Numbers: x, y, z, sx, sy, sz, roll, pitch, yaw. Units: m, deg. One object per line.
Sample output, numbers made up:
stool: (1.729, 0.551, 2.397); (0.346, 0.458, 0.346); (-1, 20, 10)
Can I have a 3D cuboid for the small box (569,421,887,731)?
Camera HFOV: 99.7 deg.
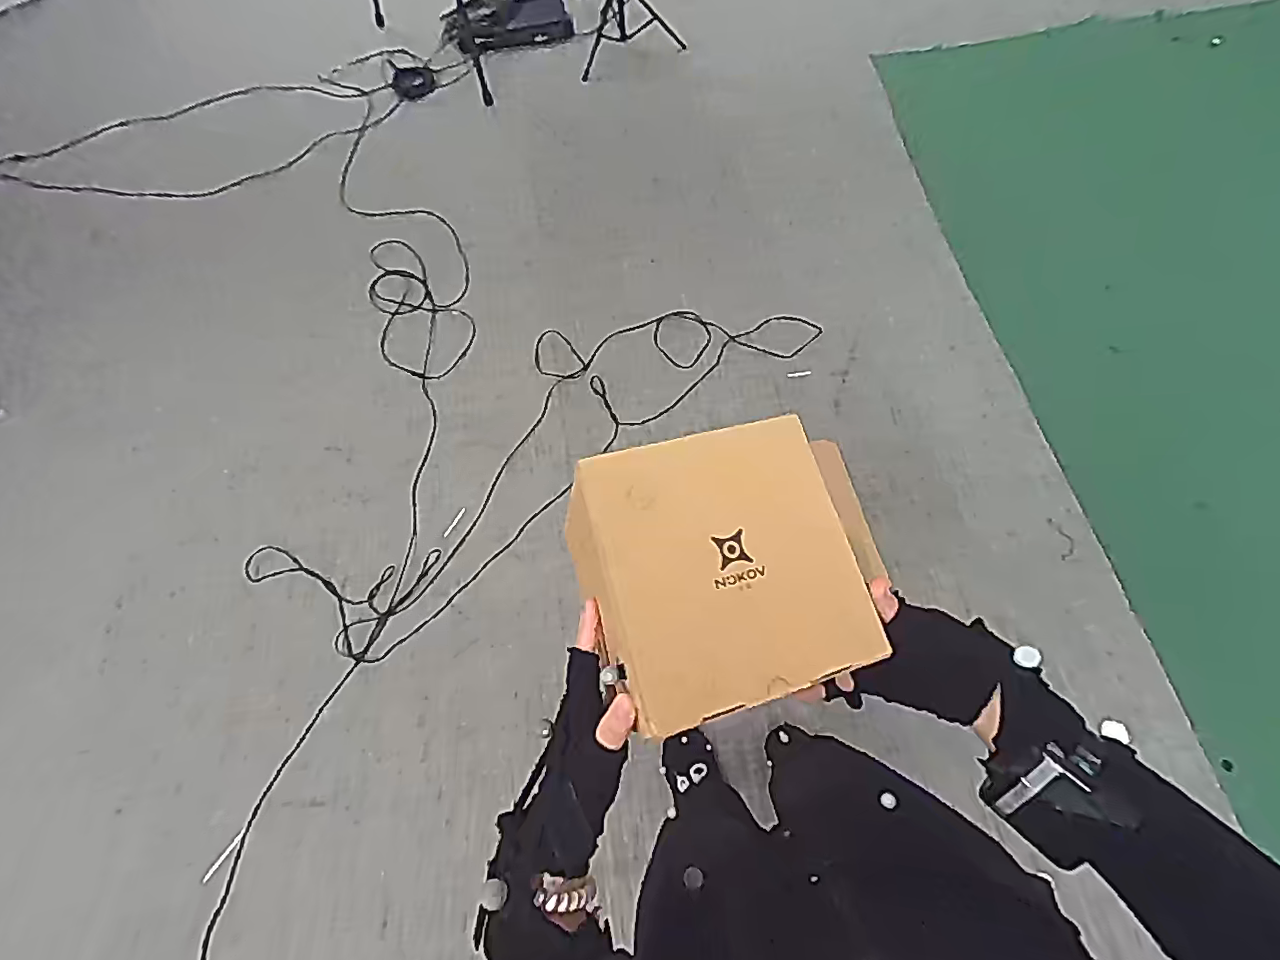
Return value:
small box: (0.047, 0.076, 0.427); (0.168, 0.176, 0.179); (-12, 75, -17)
